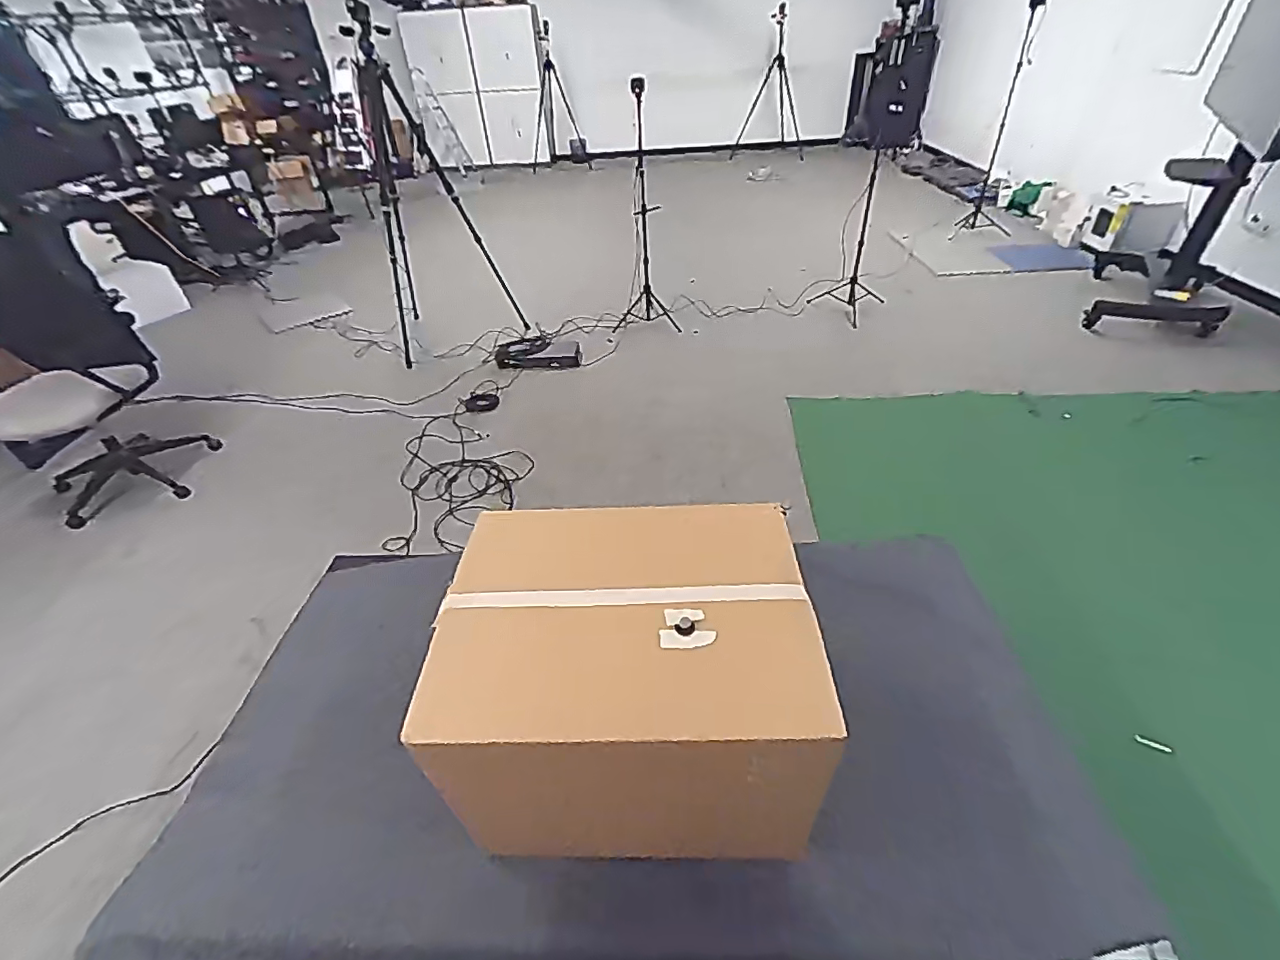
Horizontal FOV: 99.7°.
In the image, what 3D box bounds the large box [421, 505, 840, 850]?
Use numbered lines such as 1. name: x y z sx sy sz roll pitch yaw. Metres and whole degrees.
1. large box: -0.006 0.254 0.710 0.408 0.320 0.320 -2 40 2
